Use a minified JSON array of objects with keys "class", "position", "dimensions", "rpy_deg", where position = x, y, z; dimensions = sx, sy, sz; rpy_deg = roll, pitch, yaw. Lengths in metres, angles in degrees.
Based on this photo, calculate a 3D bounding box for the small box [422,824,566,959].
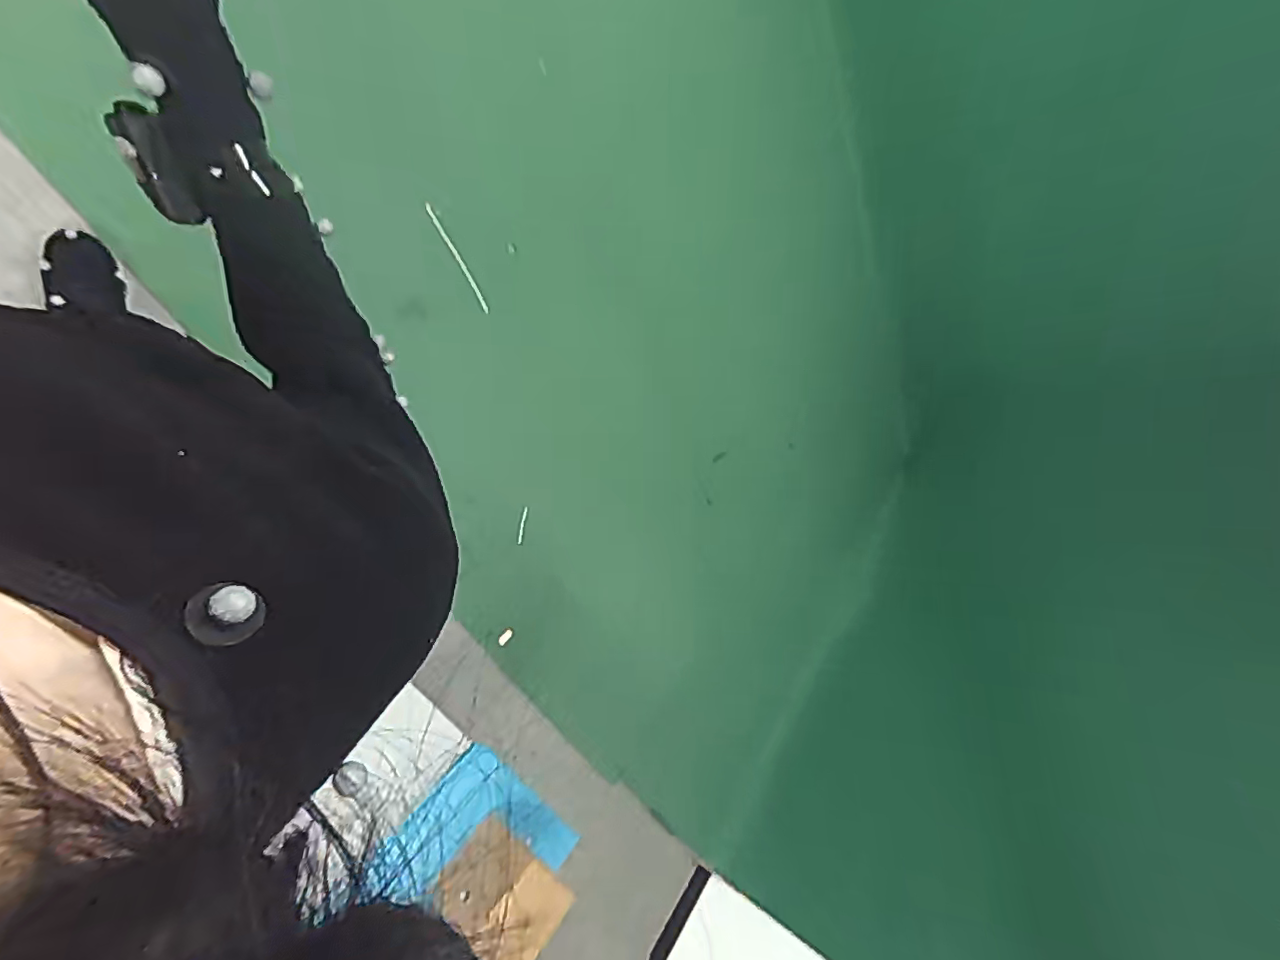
[{"class":"small box","position":[-0.280,0.803,1.033],"dimensions":[0.168,0.176,0.179],"rpy_deg":[-44,125,-29]}]
